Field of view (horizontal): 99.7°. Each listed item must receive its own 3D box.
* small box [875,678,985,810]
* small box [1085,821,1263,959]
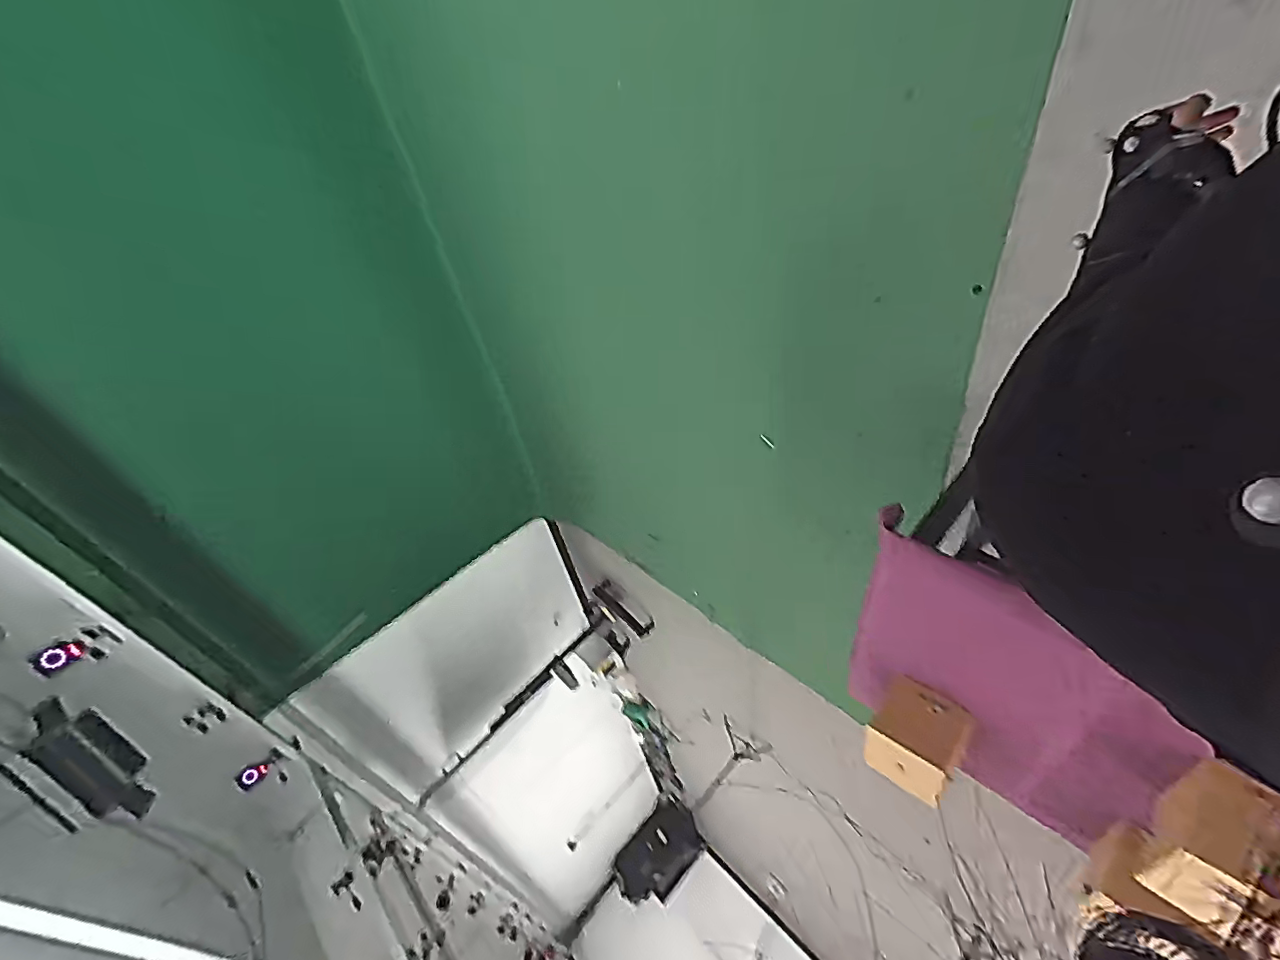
[{"bbox_3d":[0.657,0.594,1.230,0.168,0.176,0.179,23,140,40],"label":"small box"},{"bbox_3d":[0.962,0.772,0.978,0.179,0.176,0.168,27,142,38],"label":"small box"}]
